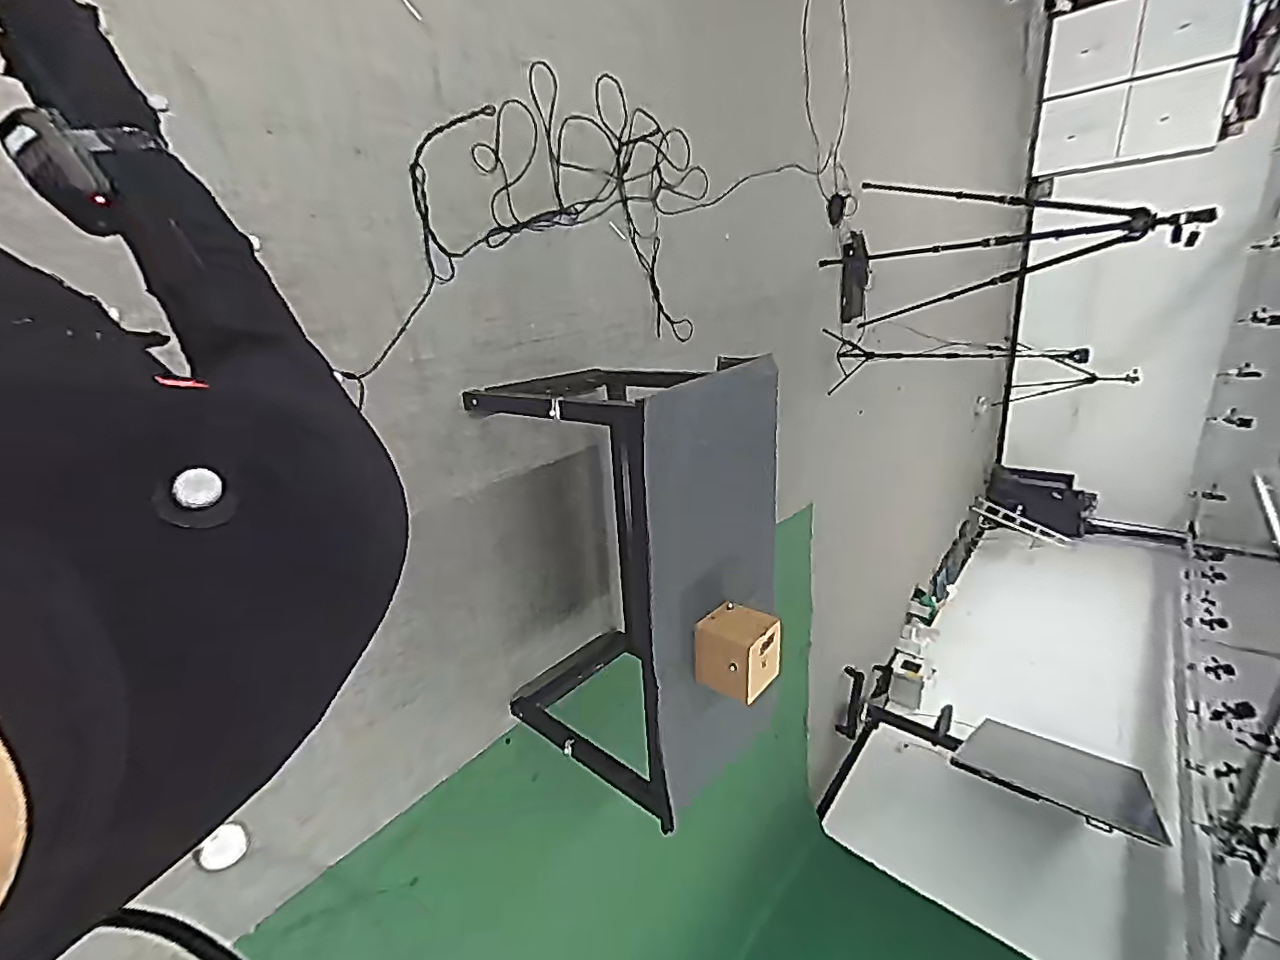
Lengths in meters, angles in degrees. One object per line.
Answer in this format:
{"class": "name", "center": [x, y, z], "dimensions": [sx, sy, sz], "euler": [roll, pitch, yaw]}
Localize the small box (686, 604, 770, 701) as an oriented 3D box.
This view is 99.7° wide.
{"class": "small box", "center": [0.238, 0.454, 1.467], "dimensions": [0.168, 0.176, 0.179], "euler": [-20, 115, -46]}
